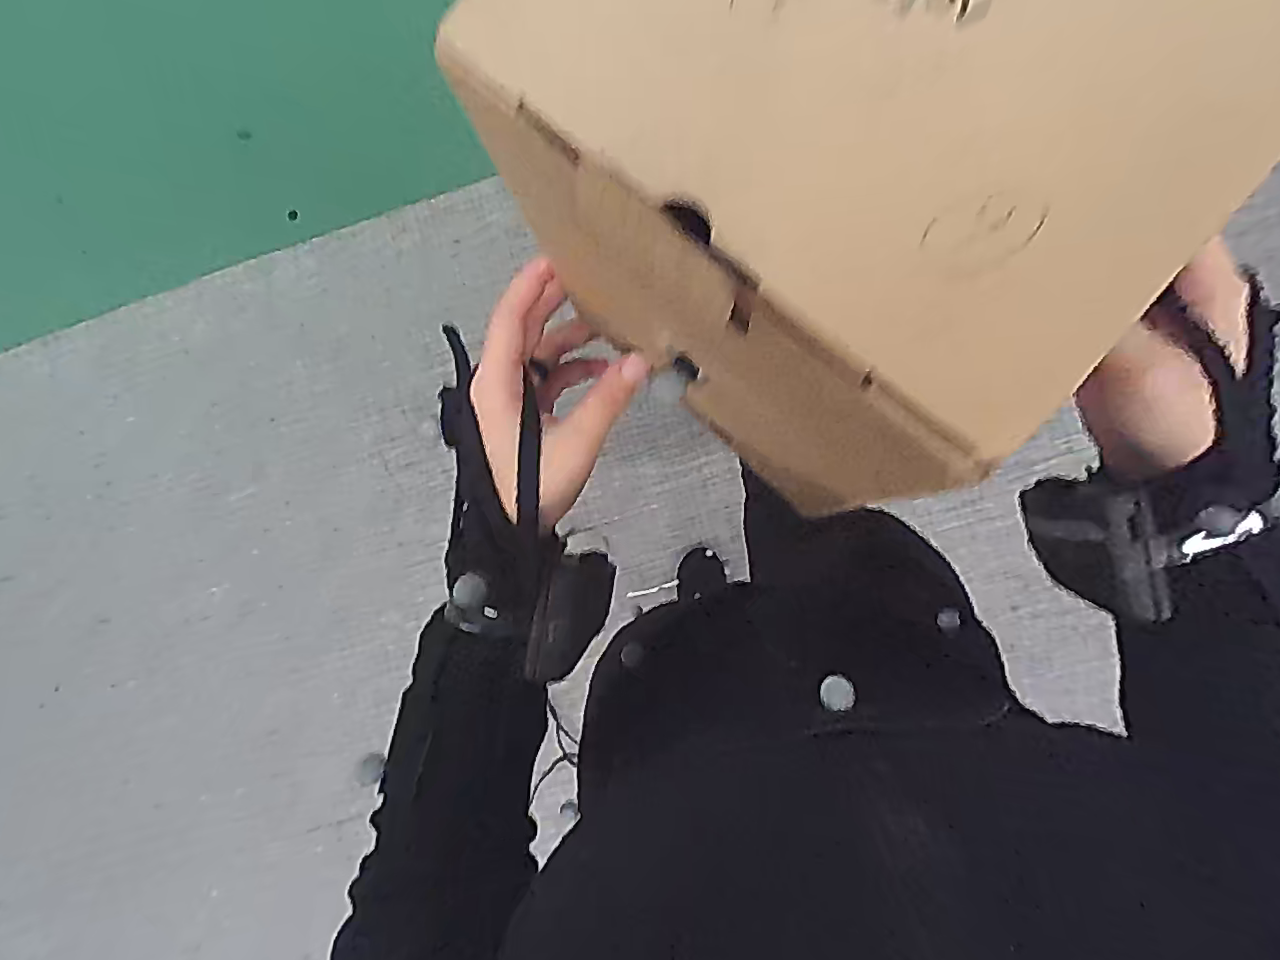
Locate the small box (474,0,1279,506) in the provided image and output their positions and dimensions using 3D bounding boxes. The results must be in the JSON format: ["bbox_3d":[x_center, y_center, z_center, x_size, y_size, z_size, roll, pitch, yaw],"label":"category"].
[{"bbox_3d":[0.079,-0.104,0.211,0.168,0.176,0.179,42,90,9],"label":"small box"}]
